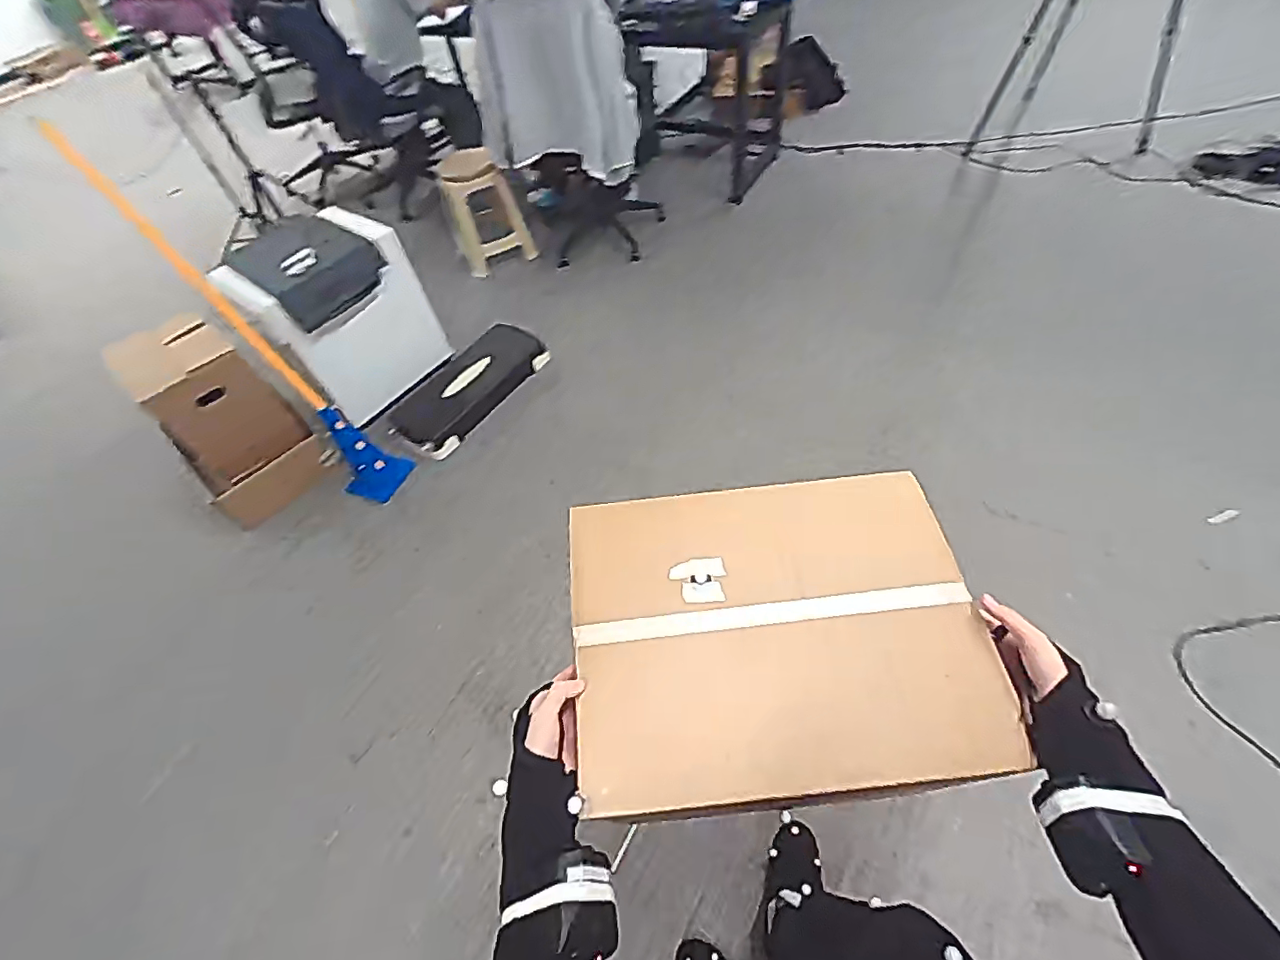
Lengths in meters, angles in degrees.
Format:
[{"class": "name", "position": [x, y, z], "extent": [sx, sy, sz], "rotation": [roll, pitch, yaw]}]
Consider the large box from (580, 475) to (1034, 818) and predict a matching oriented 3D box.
[{"class": "large box", "position": [0.153, 0.224, 0.683], "extent": [0.408, 0.320, 0.320], "rotation": [-7, 56, 1]}]
